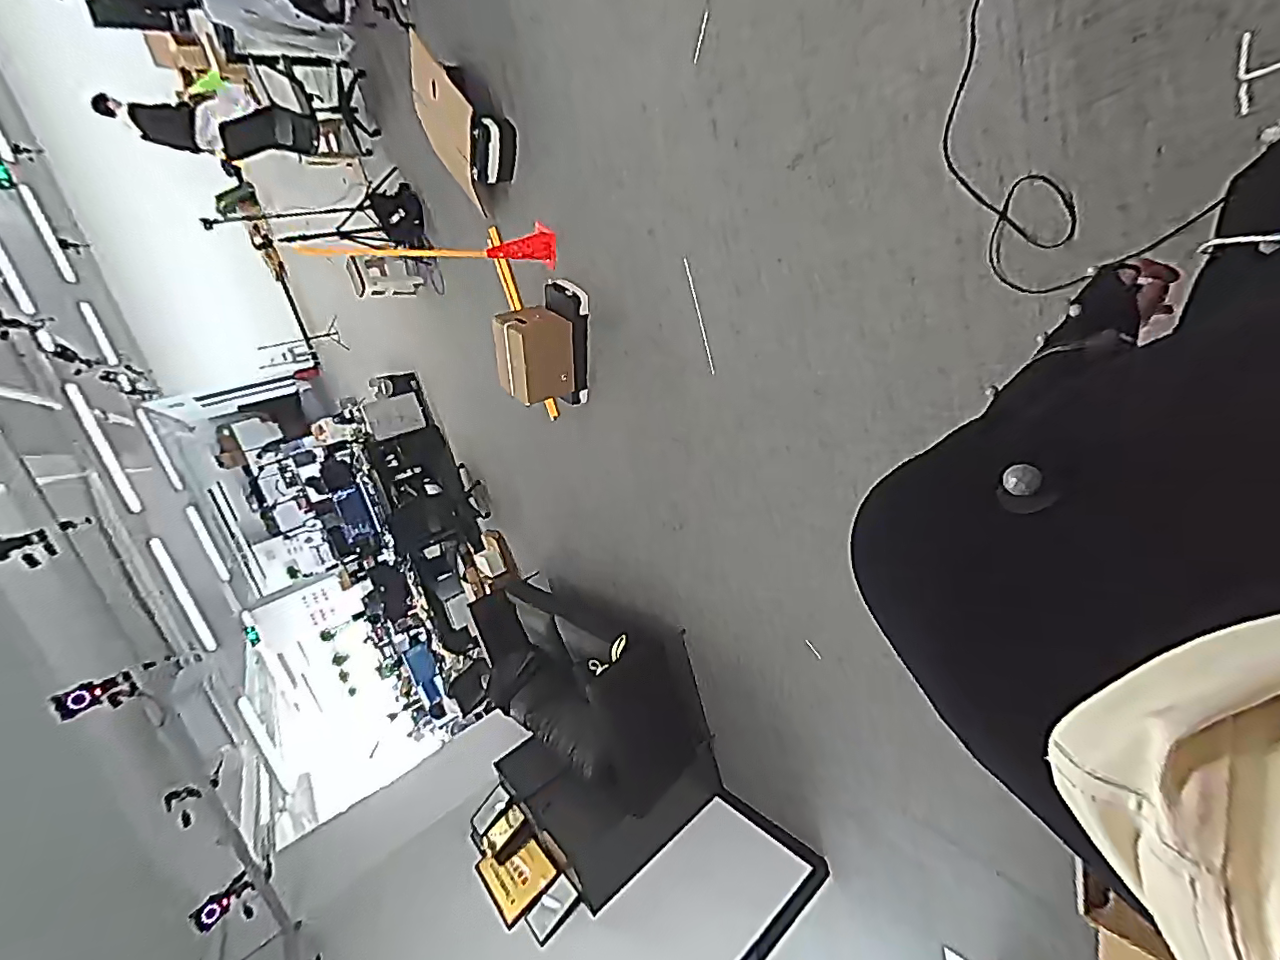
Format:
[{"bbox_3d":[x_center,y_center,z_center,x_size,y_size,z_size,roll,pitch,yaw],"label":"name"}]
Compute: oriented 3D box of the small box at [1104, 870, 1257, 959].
[{"bbox_3d":[0.992,0.882,0.996,0.179,0.176,0.168,9,118,54],"label":"small box"}]
